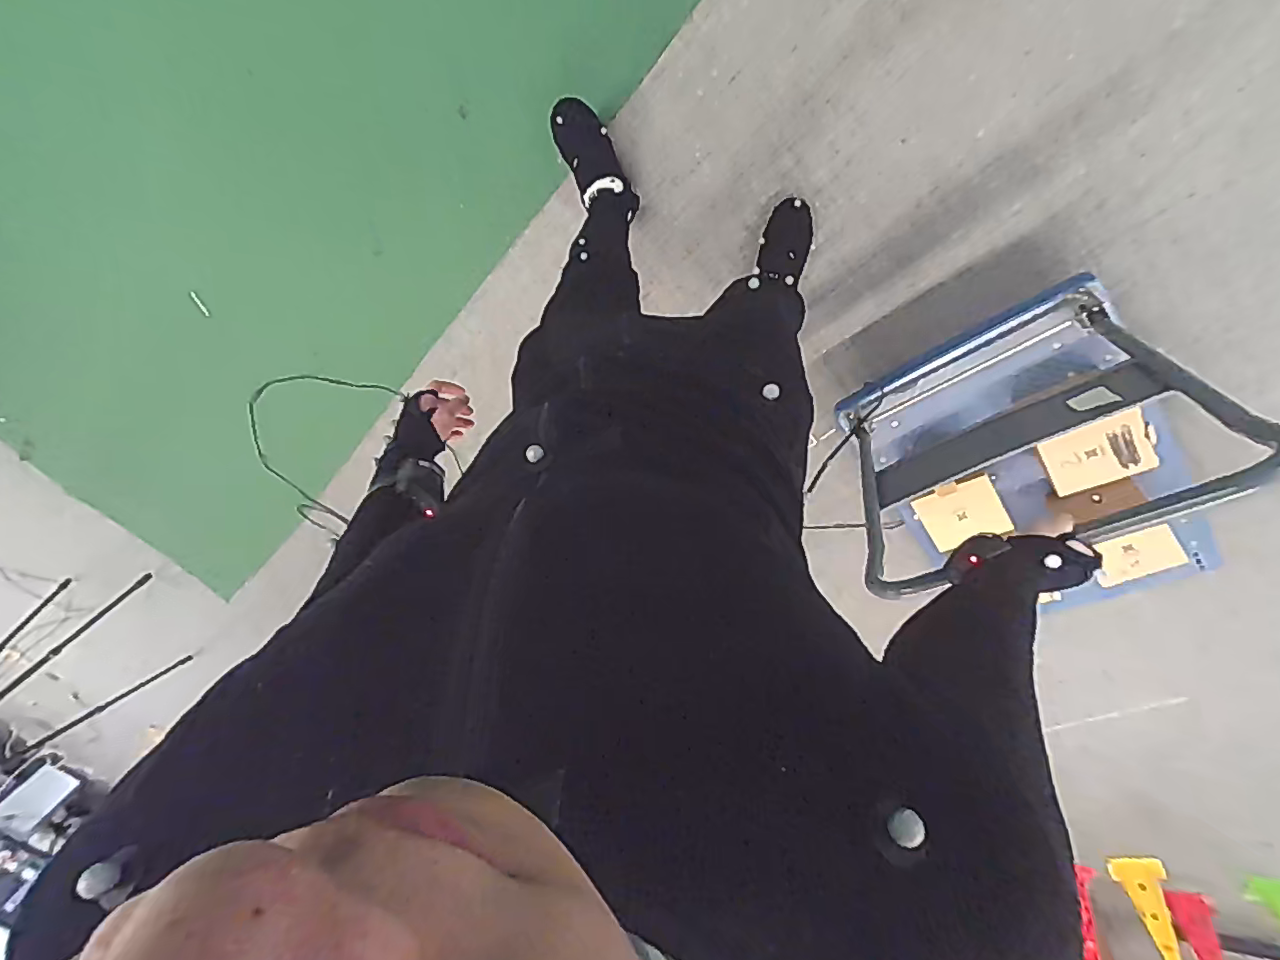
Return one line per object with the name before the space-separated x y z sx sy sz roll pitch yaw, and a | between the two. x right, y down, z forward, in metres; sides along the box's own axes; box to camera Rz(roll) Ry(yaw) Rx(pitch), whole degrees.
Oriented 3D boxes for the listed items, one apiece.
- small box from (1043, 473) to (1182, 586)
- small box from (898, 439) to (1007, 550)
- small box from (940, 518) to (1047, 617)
small box | 1.087 0.107 1.260 0.168 0.176 0.179 -33 110 33
small box | 0.749 0.033 1.310 0.168 0.176 0.179 -28 112 30
small box | 0.897 0.216 1.391 0.168 0.176 0.179 -32 110 31
